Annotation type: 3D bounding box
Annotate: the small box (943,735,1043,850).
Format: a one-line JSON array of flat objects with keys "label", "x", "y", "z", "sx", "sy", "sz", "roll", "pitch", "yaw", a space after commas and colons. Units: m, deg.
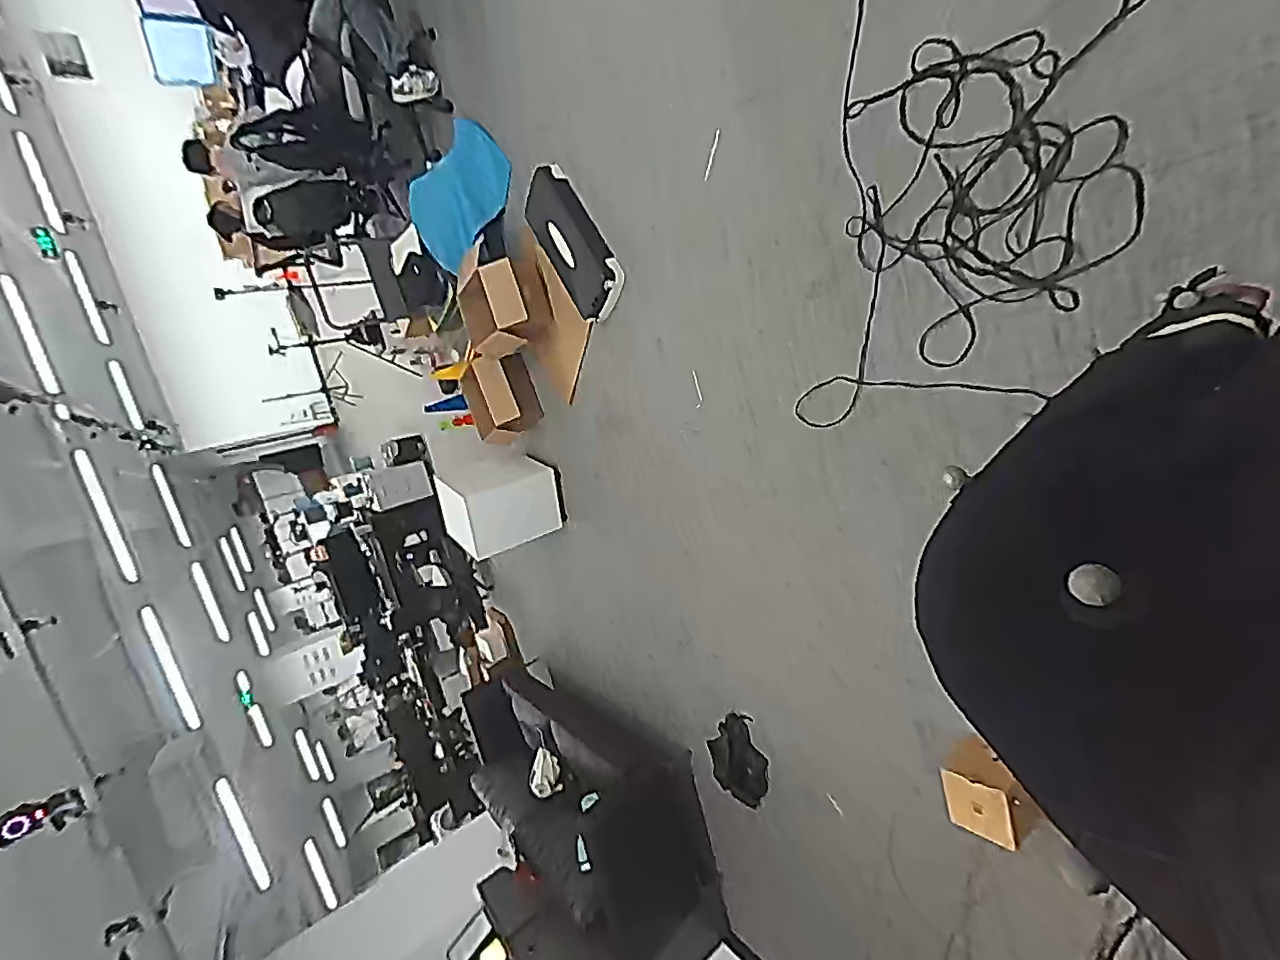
[{"label": "small box", "x": 0.965, "y": 0.841, "z": 1.475, "sx": 0.168, "sy": 0.176, "sz": 0.179, "roll": -3, "pitch": 104, "yaw": 57}]
